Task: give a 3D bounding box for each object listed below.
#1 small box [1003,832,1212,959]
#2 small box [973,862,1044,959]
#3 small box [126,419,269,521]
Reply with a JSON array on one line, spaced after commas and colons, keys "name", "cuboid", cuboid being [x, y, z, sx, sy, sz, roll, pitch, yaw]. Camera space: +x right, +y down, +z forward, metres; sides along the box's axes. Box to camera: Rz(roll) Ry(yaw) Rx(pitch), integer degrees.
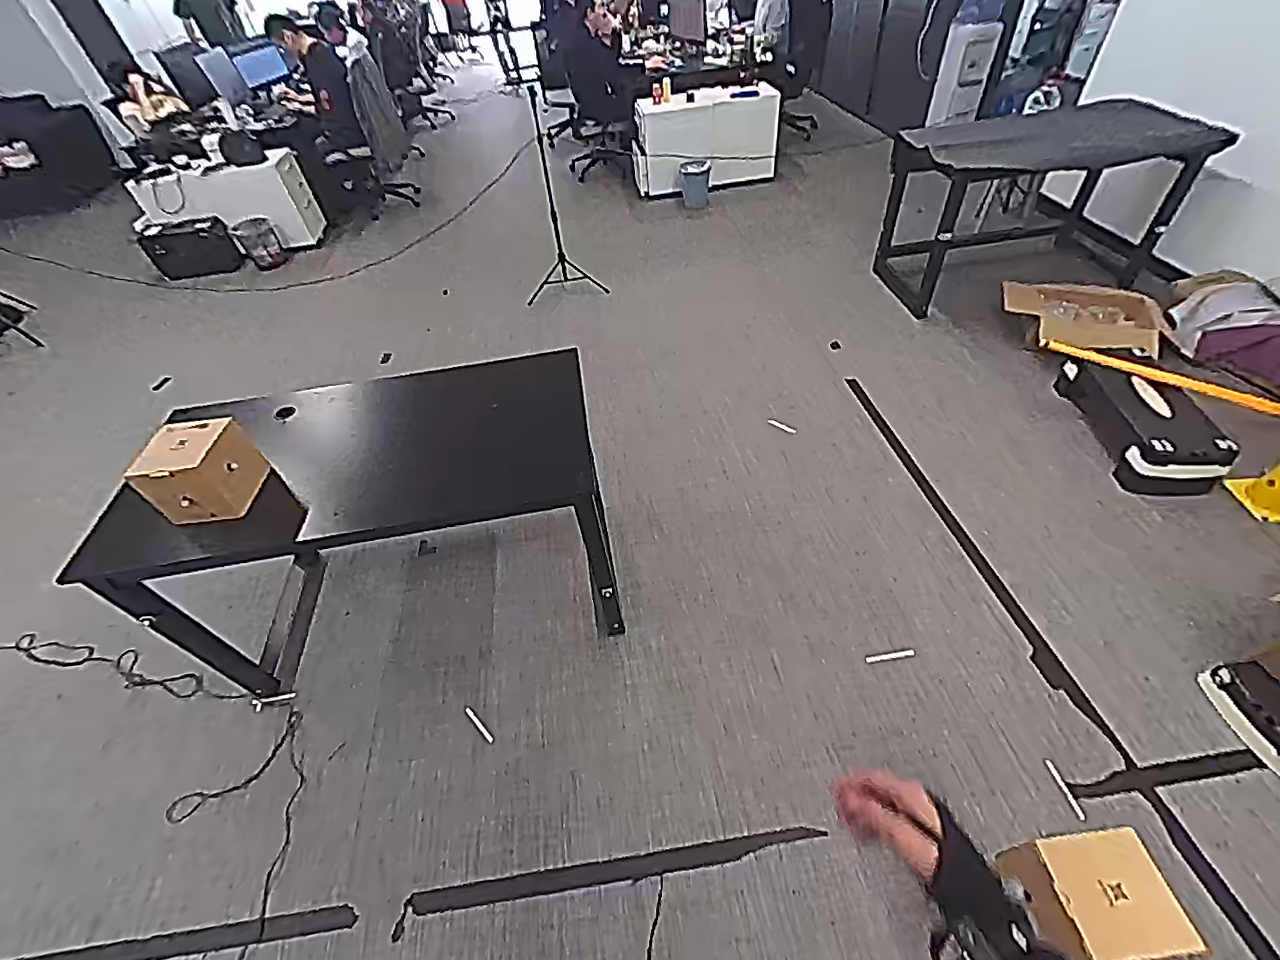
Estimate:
[{"name": "small box", "cuboid": [0.772, 0.718, 0.921, 0.179, 0.176, 0.168, -8, 47, 0]}, {"name": "small box", "cuboid": [0.781, 0.836, 1.032, 0.168, 0.176, 0.179, -9, 48, -2]}, {"name": "small box", "cuboid": [-1.024, -0.017, 1.273, 0.168, 0.176, 0.179, -7, 47, 0]}]
